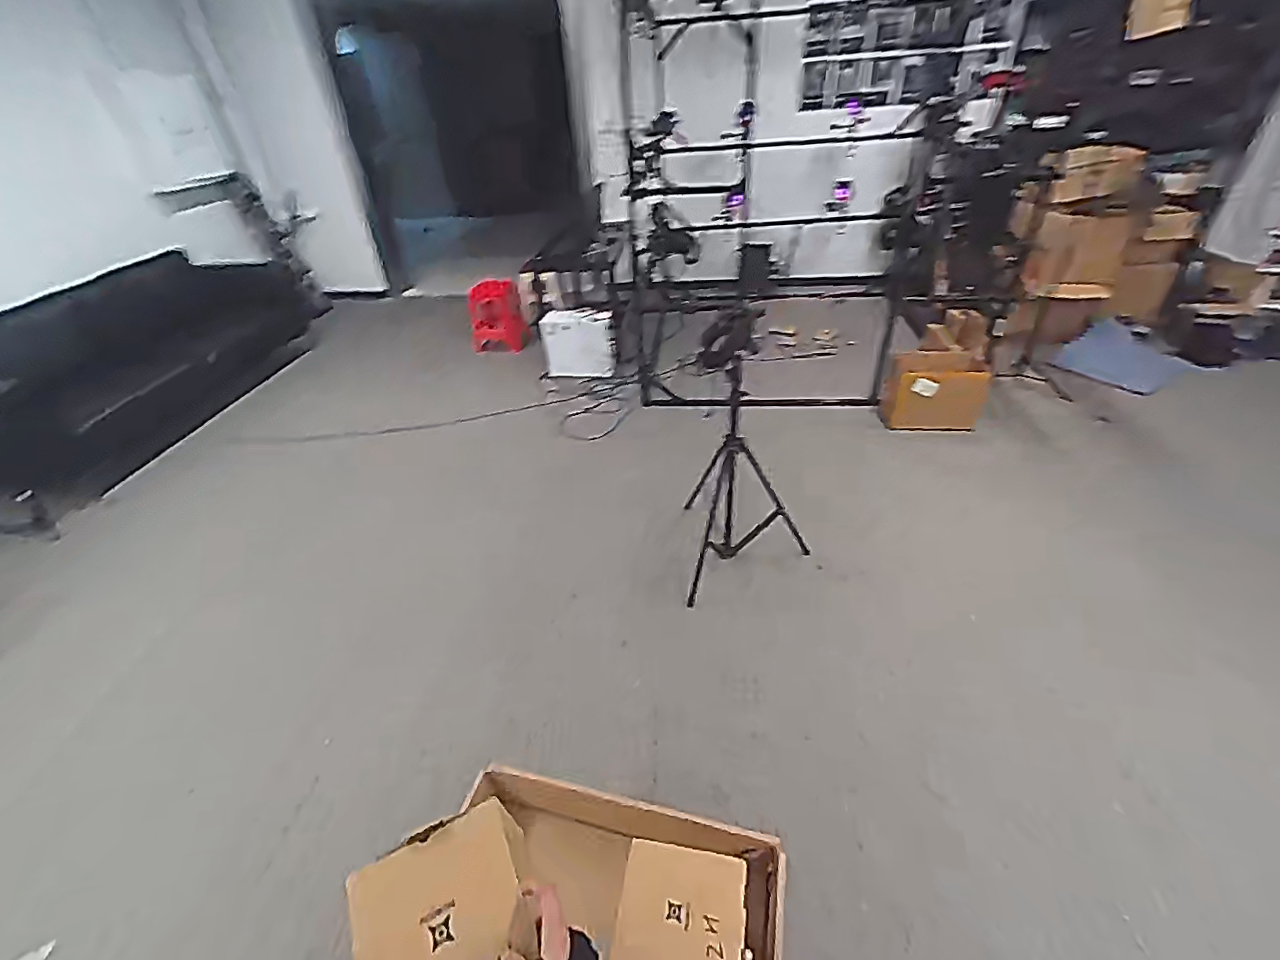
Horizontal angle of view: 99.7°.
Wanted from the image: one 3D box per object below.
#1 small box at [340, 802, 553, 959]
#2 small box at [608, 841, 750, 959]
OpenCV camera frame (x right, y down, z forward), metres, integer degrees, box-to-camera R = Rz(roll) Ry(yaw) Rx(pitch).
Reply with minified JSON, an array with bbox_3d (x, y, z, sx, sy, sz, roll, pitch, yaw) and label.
[{"bbox_3d":[-0.203,0.502,0.592,0.168,0.176,0.179,-22,48,-17],"label":"small box"},{"bbox_3d":[0.064,0.665,0.783,0.179,0.176,0.168,4,36,13],"label":"small box"}]
